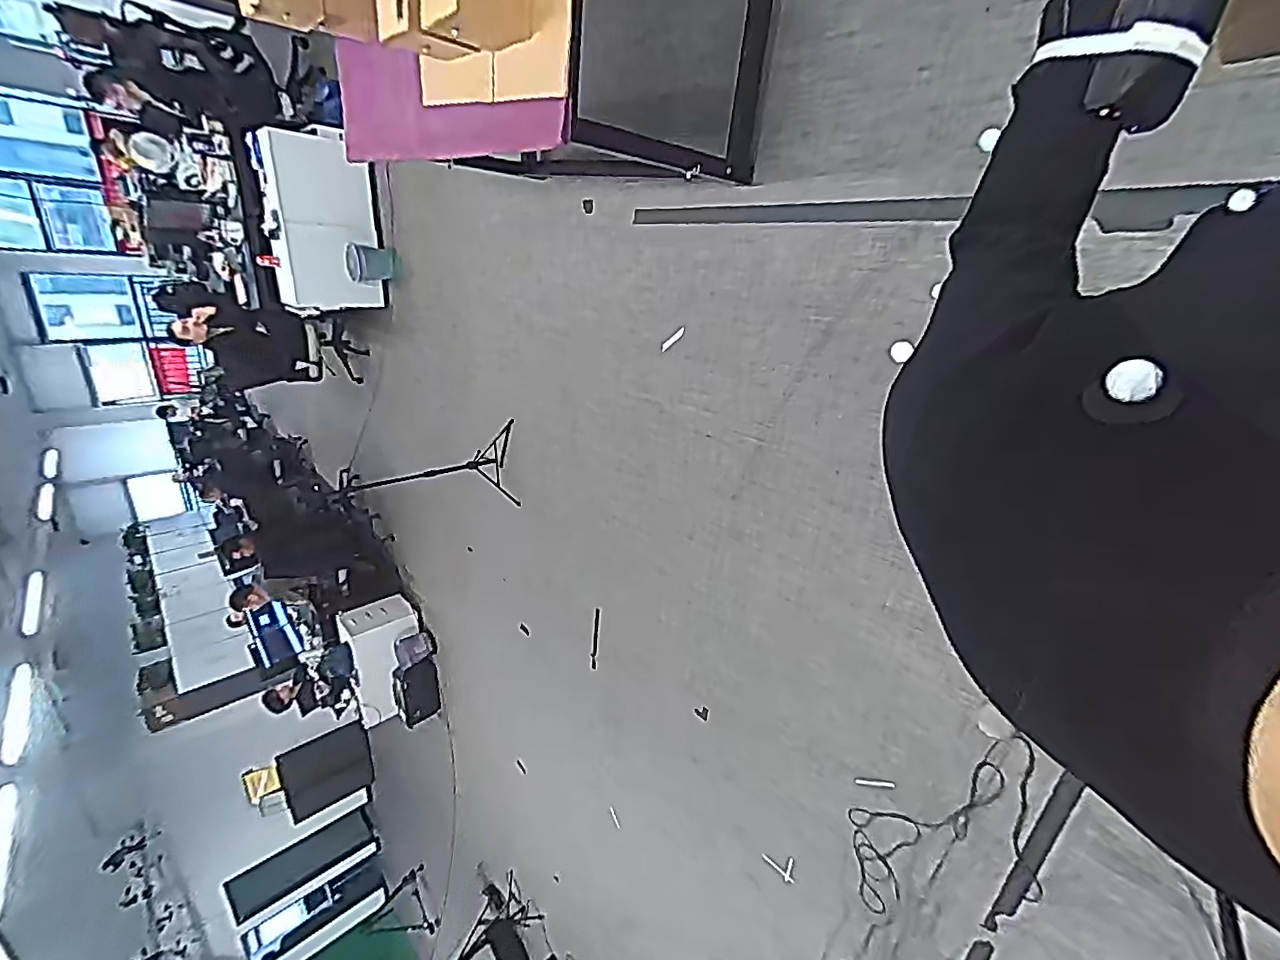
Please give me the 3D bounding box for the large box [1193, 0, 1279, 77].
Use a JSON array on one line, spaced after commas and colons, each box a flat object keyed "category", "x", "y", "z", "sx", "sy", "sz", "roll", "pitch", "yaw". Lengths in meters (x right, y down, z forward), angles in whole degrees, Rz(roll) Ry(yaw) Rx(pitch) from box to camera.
[{"category": "large box", "x": 0.577, "y": -0.437, "z": 0.242, "sx": 0.408, "sy": 0.320, "sz": 0.320, "roll": 21, "pitch": 122, "yaw": 42}]
